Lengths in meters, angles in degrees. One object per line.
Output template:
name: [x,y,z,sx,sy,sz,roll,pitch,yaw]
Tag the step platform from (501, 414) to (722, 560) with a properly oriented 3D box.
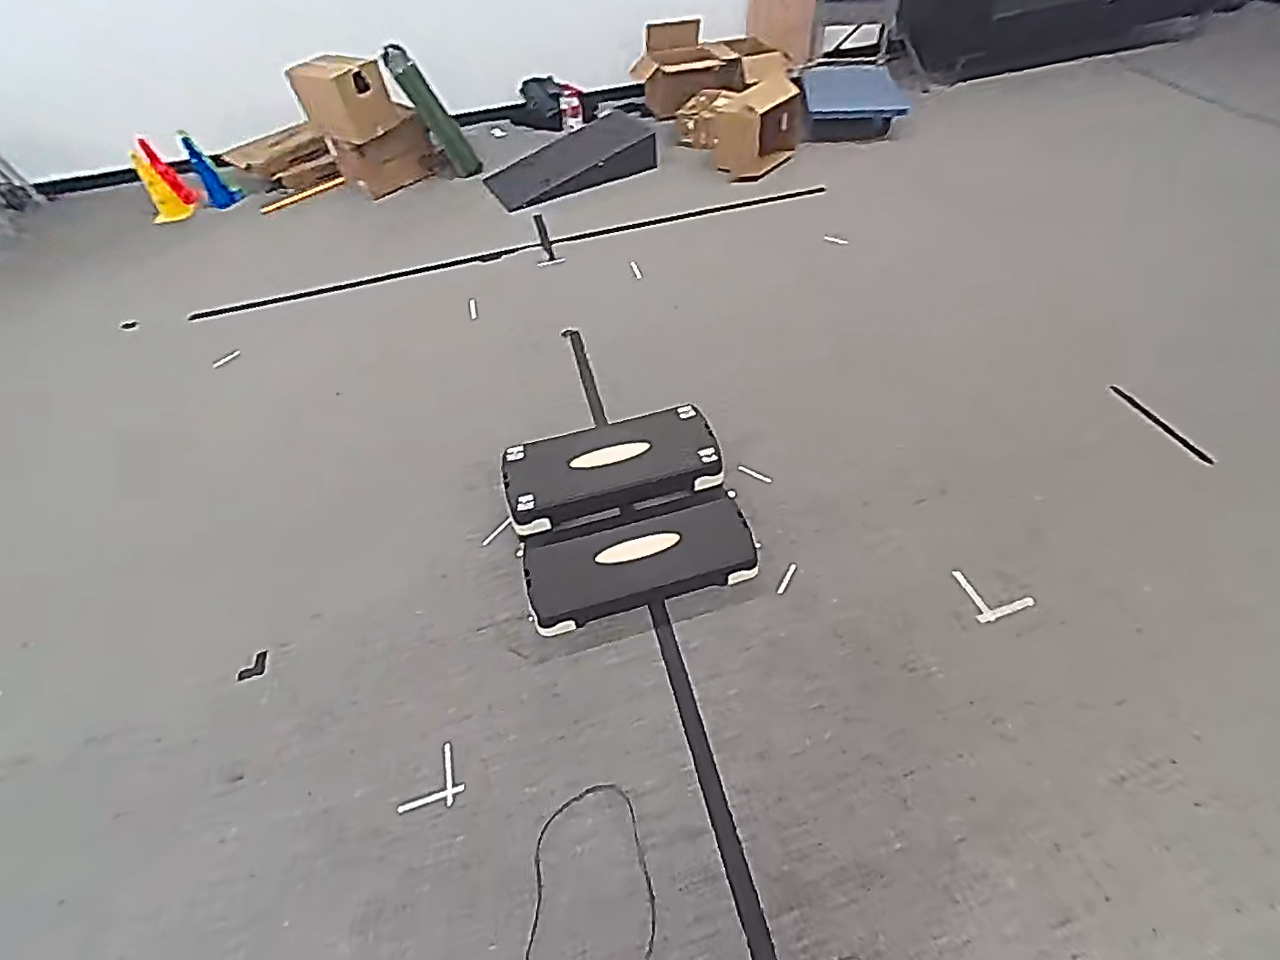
step platform: [-0.090,0.011,1.713,0.684,0.204,0.286,-15,53,-8]
